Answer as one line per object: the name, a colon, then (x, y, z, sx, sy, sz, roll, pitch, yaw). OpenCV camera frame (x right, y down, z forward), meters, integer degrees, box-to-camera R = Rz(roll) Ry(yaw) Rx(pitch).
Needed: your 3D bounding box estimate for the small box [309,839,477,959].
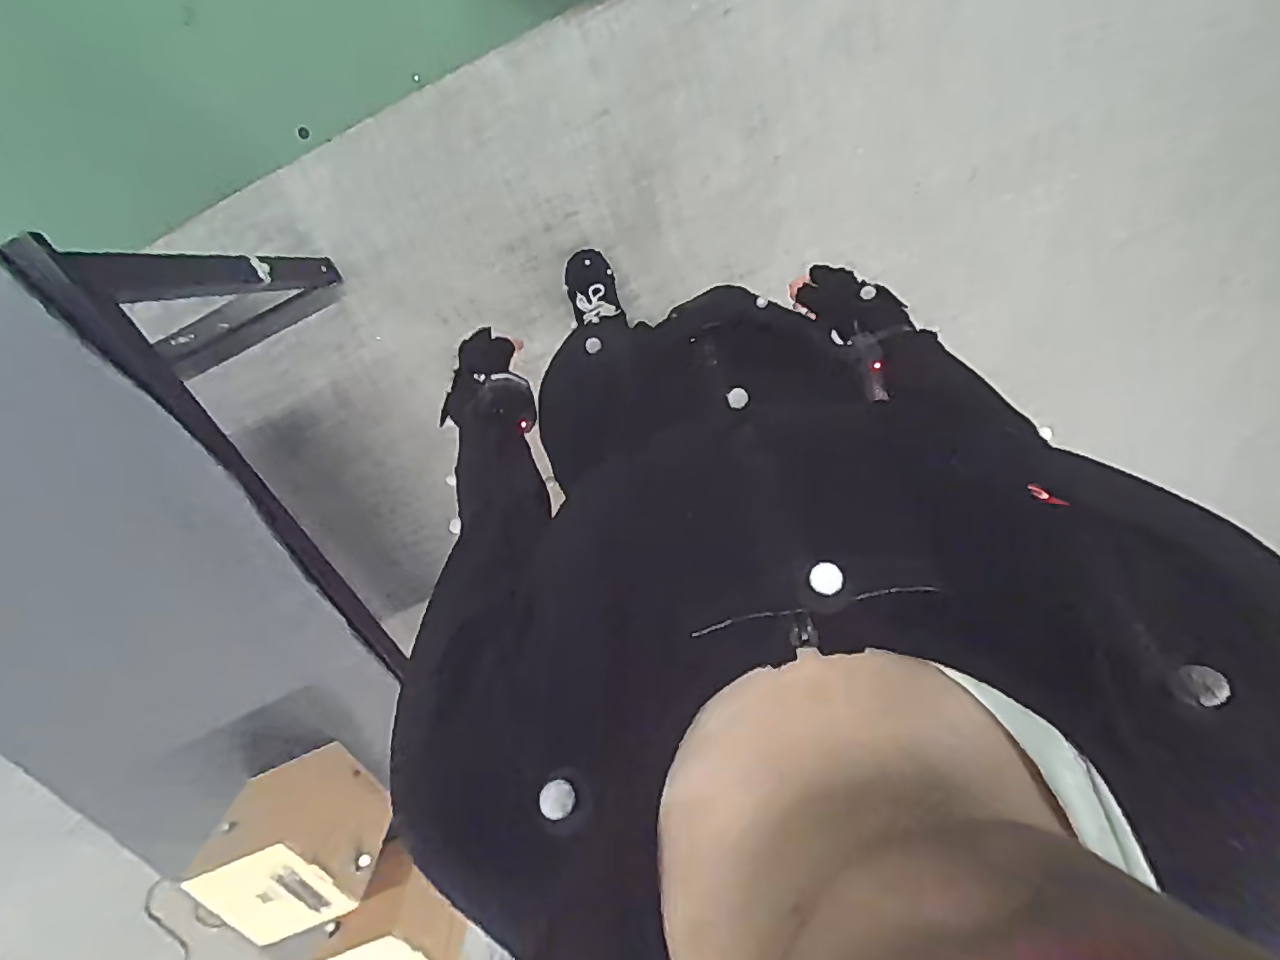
small box: (-0.401, 0.752, 0.903, 0.179, 0.176, 0.168, -27, 110, 7)
